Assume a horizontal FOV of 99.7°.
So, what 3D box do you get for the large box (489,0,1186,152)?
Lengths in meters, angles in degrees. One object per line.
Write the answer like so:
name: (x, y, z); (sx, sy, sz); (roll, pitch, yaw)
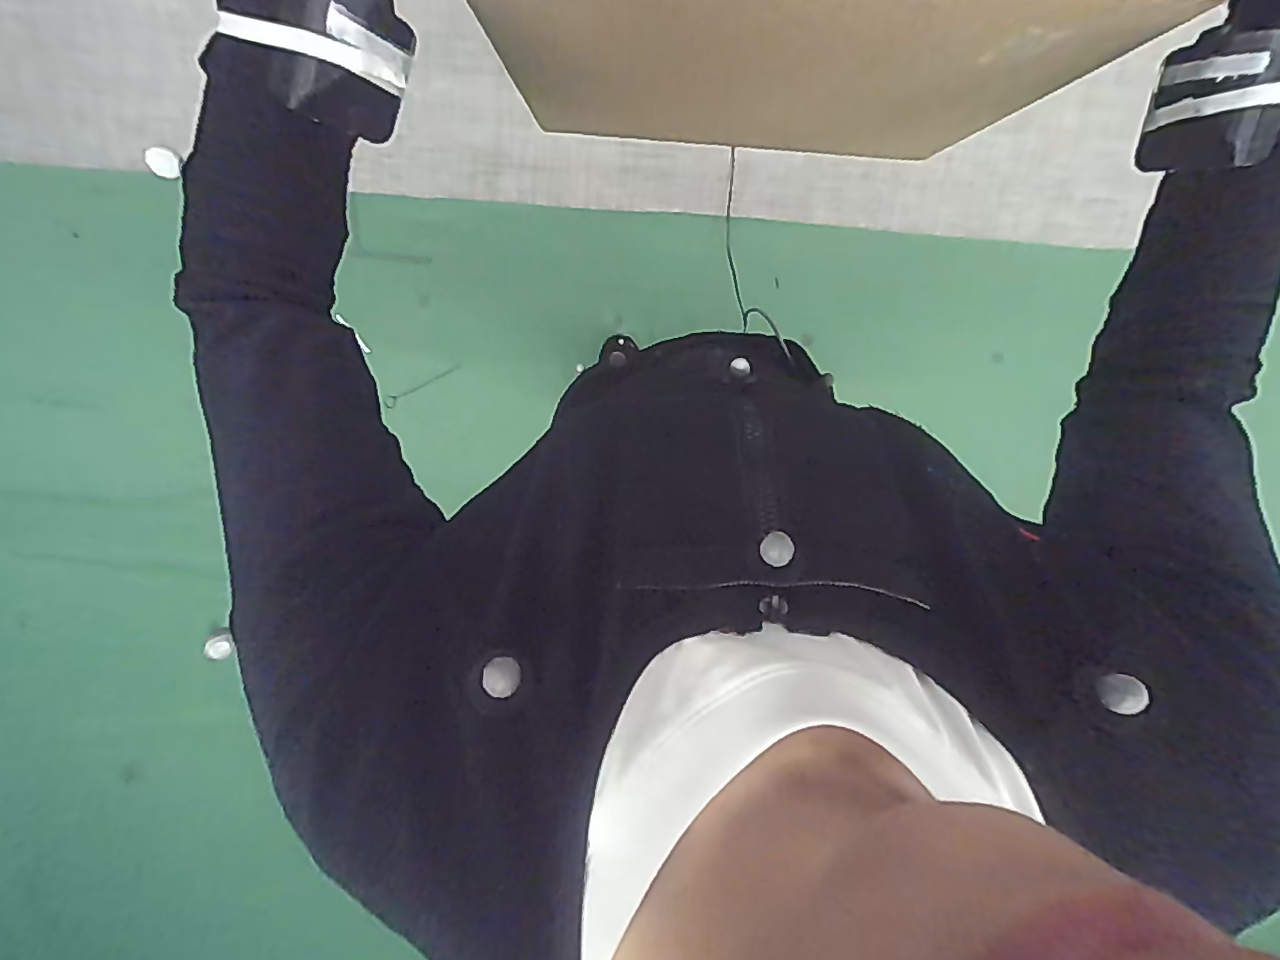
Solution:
large box: (0.108, -0.451, 0.378); (0.408, 0.320, 0.320); (3, 108, -2)
